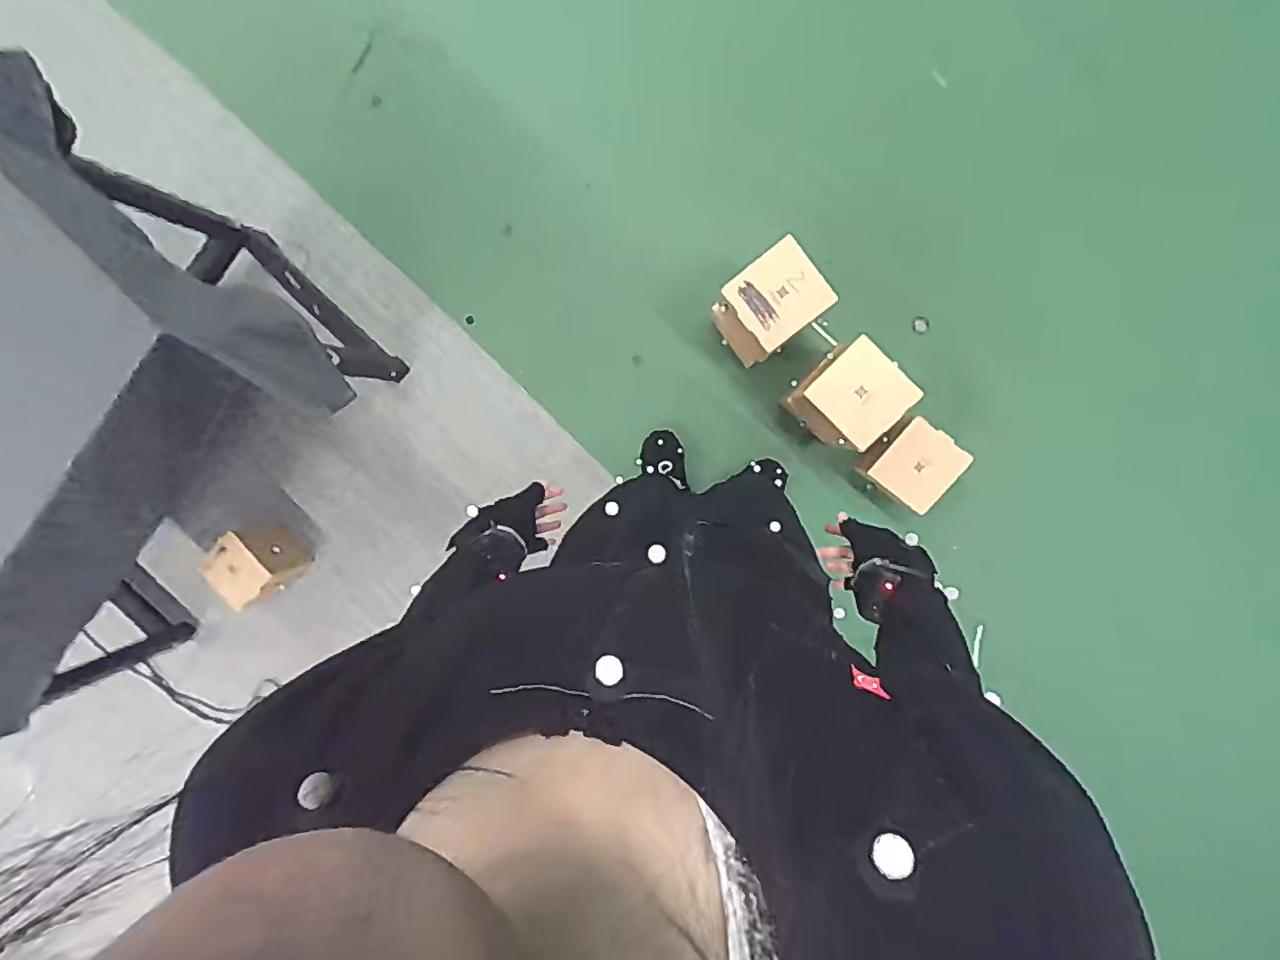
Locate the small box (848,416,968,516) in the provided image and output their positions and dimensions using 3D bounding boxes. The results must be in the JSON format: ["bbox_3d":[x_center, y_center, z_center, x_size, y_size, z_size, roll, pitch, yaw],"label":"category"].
[{"bbox_3d":[0.644,-0.040,1.327,0.168,0.176,0.179,39,99,0],"label":"small box"}]

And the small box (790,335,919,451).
[{"bbox_3d":[0.448,-0.181,1.165,0.179,0.176,0.168,44,99,-1],"label":"small box"}]

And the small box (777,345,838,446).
[{"bbox_3d":[0.456,-0.202,1.326,0.168,0.176,0.179,42,98,0],"label":"small box"}]

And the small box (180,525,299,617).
[{"bbox_3d":[-1.127,0.250,1.538,0.168,0.176,0.179,-42,92,9],"label":"small box"}]

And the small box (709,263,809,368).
[{"bbox_3d":[0.281,-0.392,1.322,0.179,0.176,0.168,-35,91,10],"label":"small box"}]
